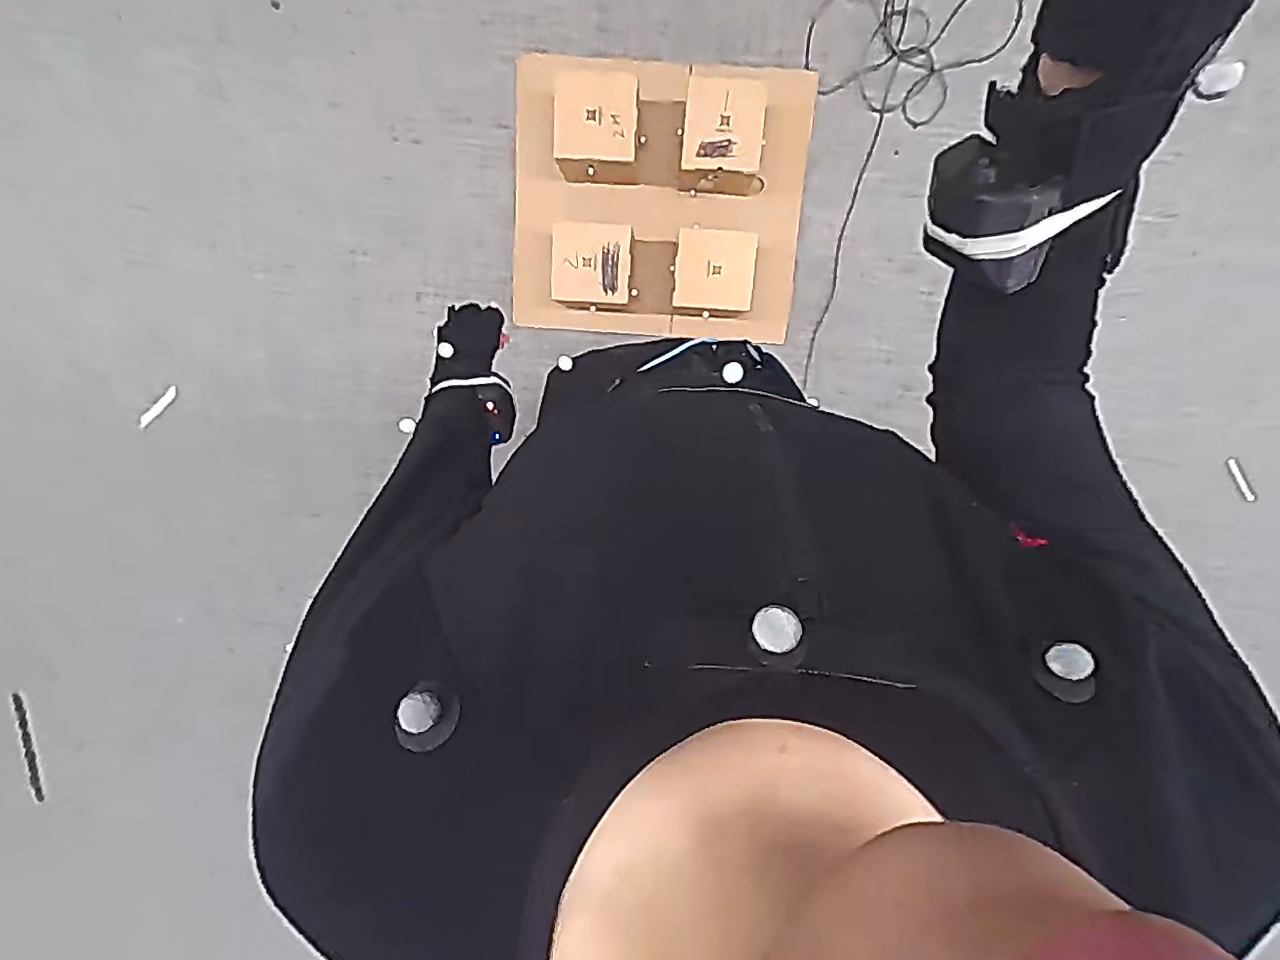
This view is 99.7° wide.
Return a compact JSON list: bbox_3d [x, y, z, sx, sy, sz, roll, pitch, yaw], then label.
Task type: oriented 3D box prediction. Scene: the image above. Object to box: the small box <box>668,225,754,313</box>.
[{"bbox_3d":[0.160,-0.489,1.272,0.179,0.176,0.168,6,103,3],"label":"small box"}]
